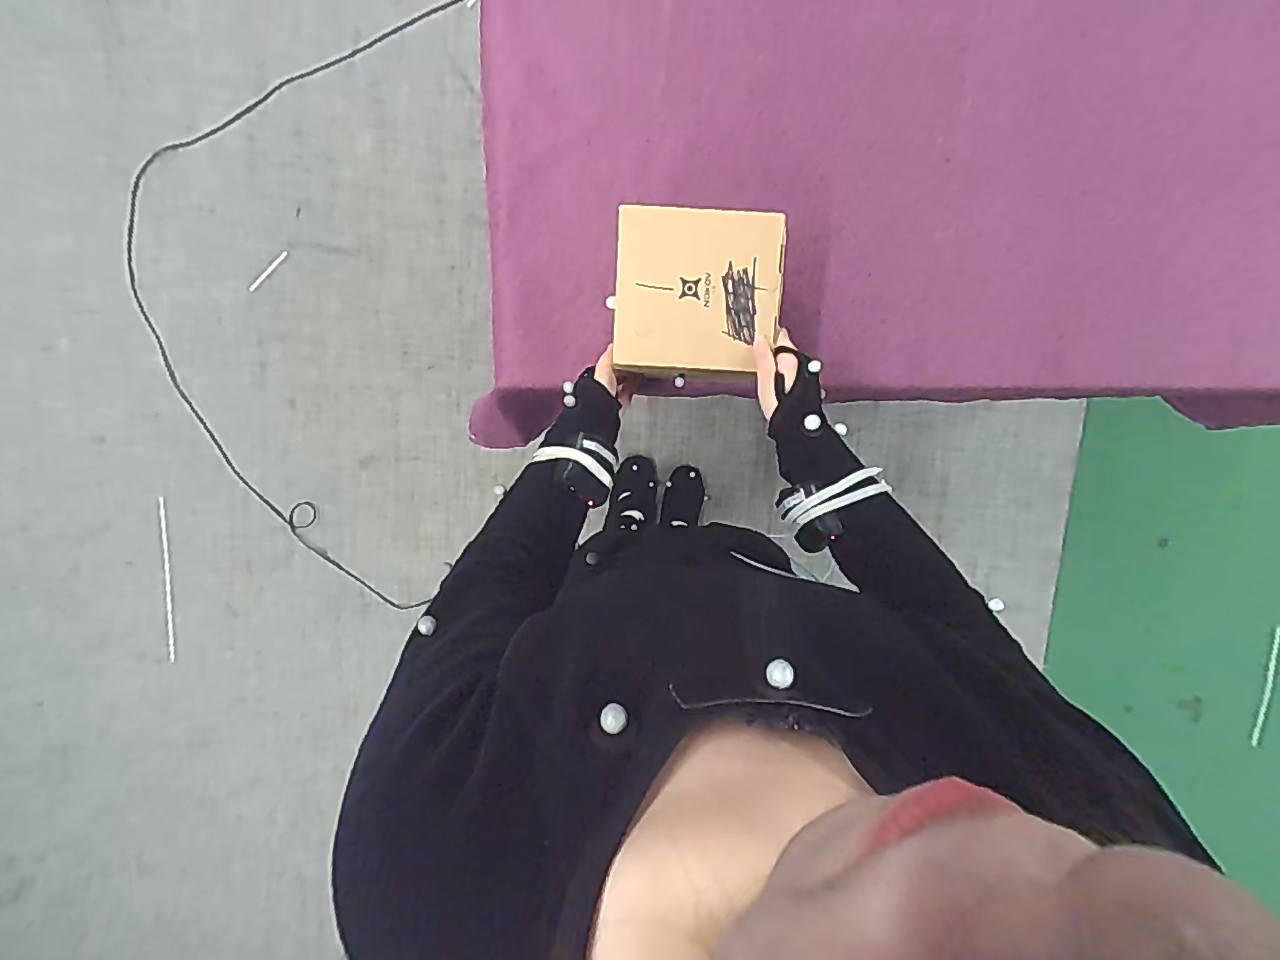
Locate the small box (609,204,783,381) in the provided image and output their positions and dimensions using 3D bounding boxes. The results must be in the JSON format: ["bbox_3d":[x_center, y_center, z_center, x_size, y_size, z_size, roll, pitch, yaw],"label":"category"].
[{"bbox_3d":[0.058,-0.211,0.651,0.179,0.176,0.168,3,96,0],"label":"small box"}]
